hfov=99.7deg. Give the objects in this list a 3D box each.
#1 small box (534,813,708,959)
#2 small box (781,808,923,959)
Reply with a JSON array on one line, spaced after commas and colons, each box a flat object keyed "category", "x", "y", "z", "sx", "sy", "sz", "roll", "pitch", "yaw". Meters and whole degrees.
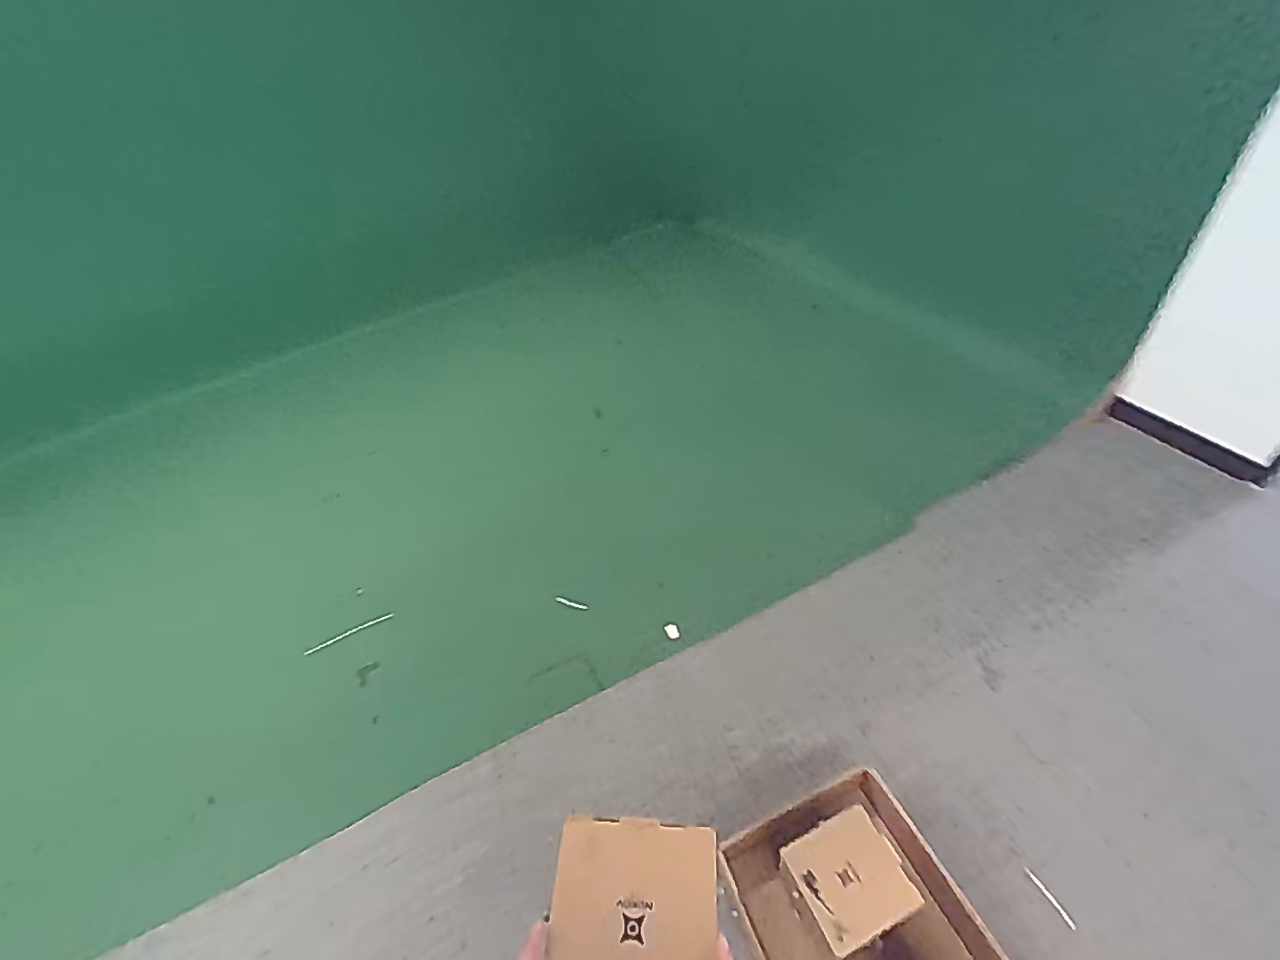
[{"category": "small box", "x": -0.017, "y": 0.487, "z": 0.582, "sx": 0.168, "sy": 0.176, "sz": 0.179, "roll": 3, "pitch": 45, "yaw": 3}, {"category": "small box", "x": 0.372, "y": 0.741, "z": 0.986, "sx": 0.179, "sy": 0.176, "sz": 0.168, "roll": -23, "pitch": 45, "yaw": -9}]
